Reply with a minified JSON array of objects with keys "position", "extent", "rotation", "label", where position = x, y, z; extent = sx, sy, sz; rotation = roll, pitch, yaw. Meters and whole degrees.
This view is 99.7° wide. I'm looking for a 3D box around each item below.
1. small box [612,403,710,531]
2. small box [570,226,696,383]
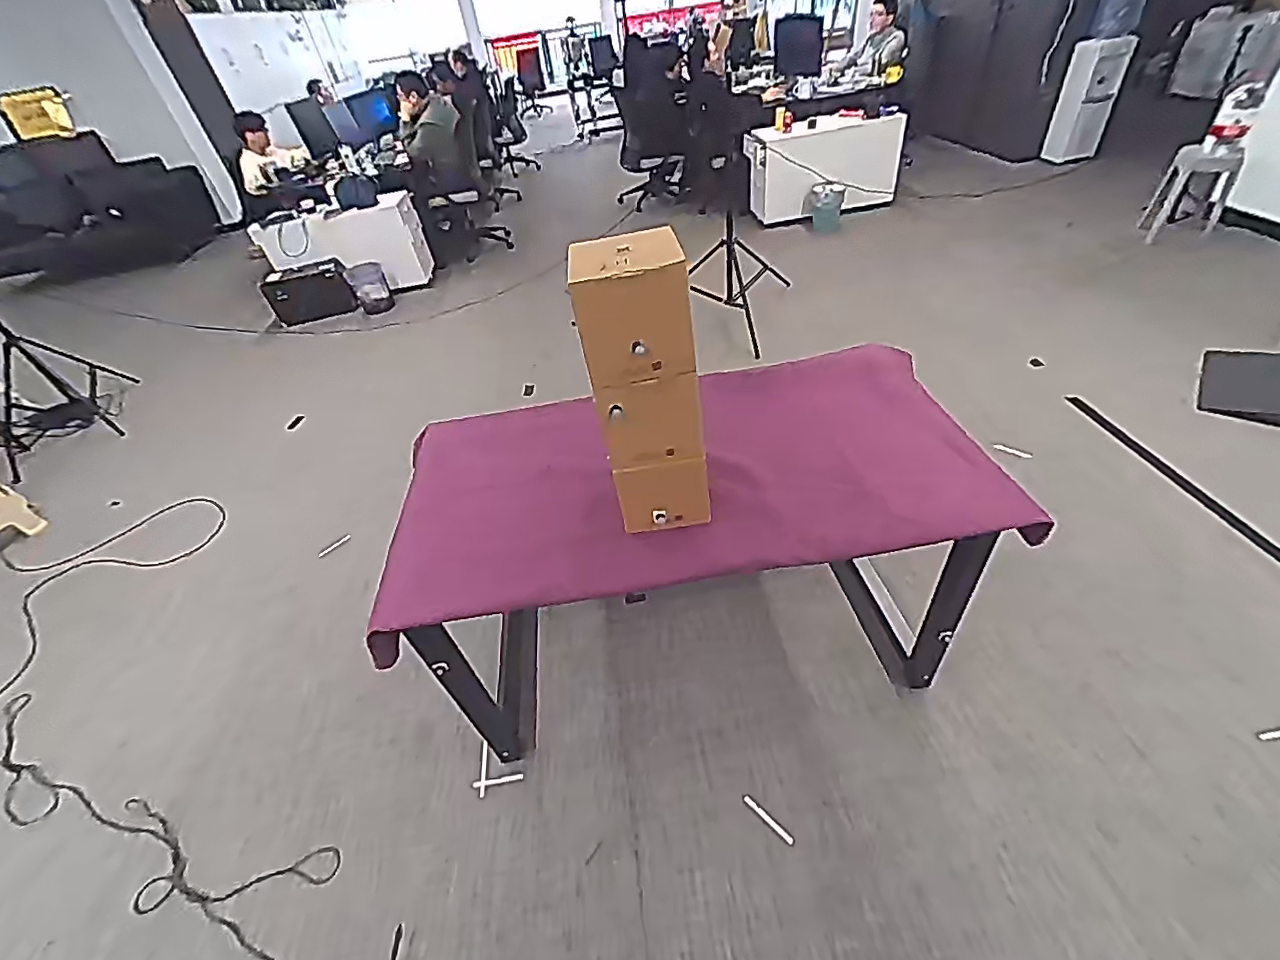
[{"position":[0.040,-0.025,1.055],"extent":[0.168,0.176,0.179],"rotation":[-9,42,2],"label":"small box"},{"position":[-0.010,-0.274,0.845],"extent":[0.168,0.176,0.179],"rotation":[-10,40,2],"label":"small box"}]
